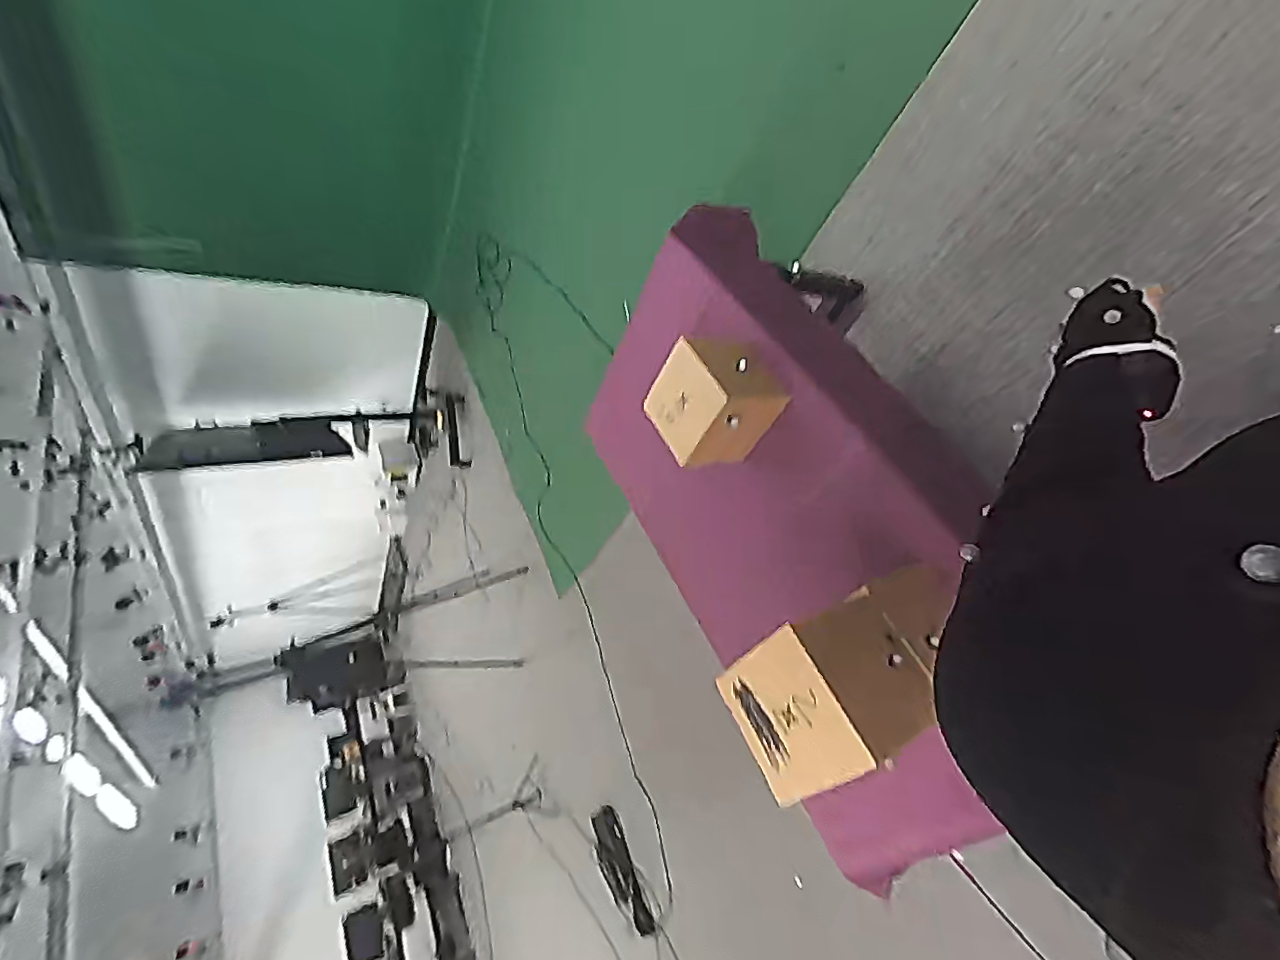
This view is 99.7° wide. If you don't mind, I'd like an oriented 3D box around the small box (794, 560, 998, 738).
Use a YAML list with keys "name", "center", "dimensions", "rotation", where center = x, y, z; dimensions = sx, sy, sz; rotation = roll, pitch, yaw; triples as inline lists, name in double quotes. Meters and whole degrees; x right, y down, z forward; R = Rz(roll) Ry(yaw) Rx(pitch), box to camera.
- name: "small box"
  center: [0.372, 0.240, 0.794]
  dimensions: [0.179, 0.176, 0.168]
  rotation: [60, 139, 29]

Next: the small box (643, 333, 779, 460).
- name: "small box"
  center: [0.140, -0.160, 1.040]
  dimensions: [0.168, 0.176, 0.179]
  rotation: [60, 139, 28]
